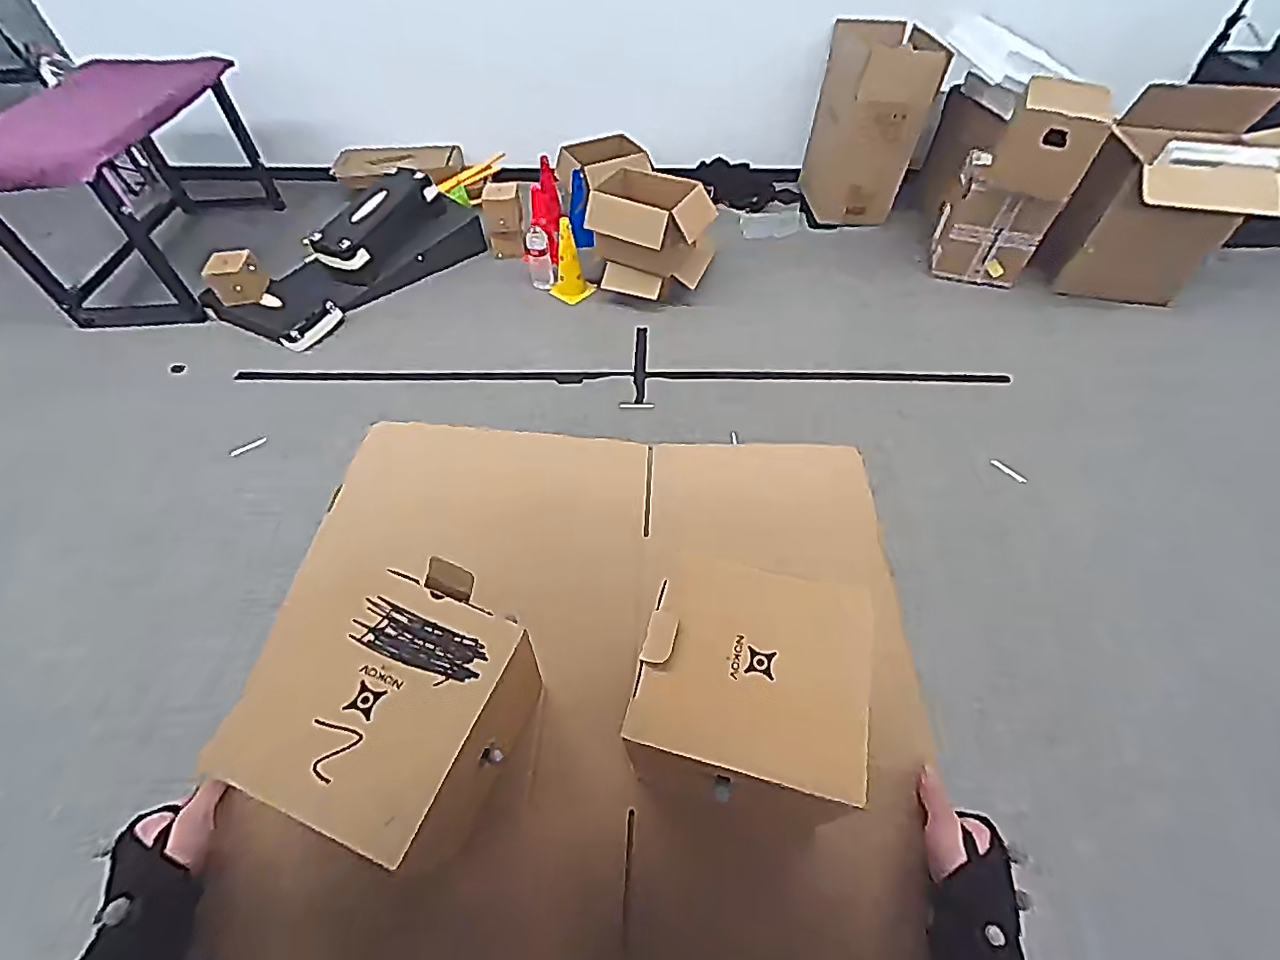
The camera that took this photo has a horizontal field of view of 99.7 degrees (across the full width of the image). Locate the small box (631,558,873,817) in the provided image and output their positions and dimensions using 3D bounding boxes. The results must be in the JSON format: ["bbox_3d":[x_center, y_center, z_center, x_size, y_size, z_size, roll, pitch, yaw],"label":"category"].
[{"bbox_3d":[0.103,0.198,0.506,0.179,0.176,0.168,9,55,13],"label":"small box"}]
